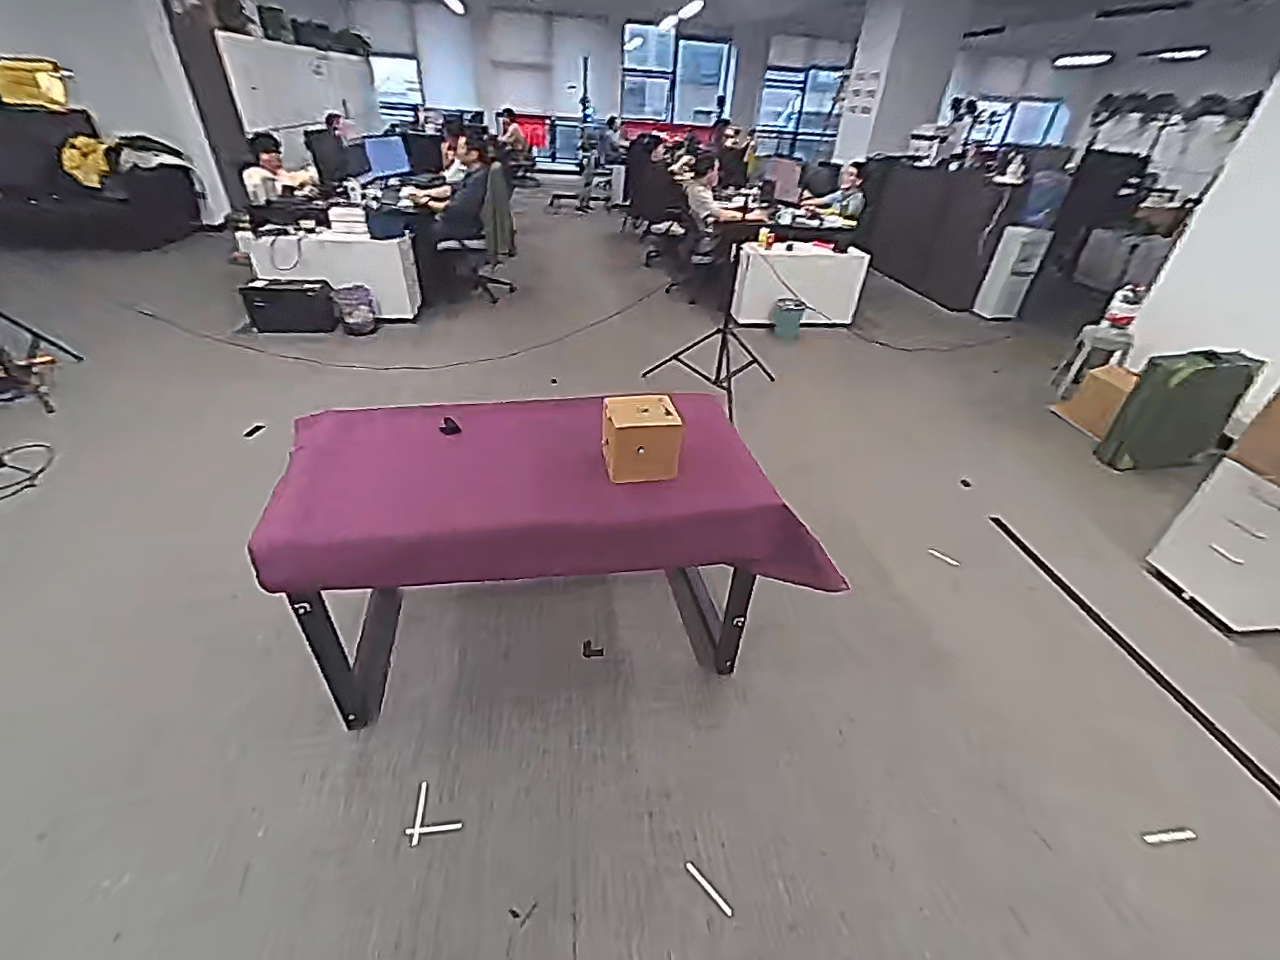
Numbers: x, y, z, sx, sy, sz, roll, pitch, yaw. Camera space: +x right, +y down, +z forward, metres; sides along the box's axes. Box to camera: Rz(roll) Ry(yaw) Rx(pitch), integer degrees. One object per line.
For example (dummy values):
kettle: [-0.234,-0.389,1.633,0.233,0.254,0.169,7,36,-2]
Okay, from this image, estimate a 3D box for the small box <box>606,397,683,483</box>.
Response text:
small box: [0.008,-0.104,1.430,0.179,0.176,0.168,-5,36,-10]
